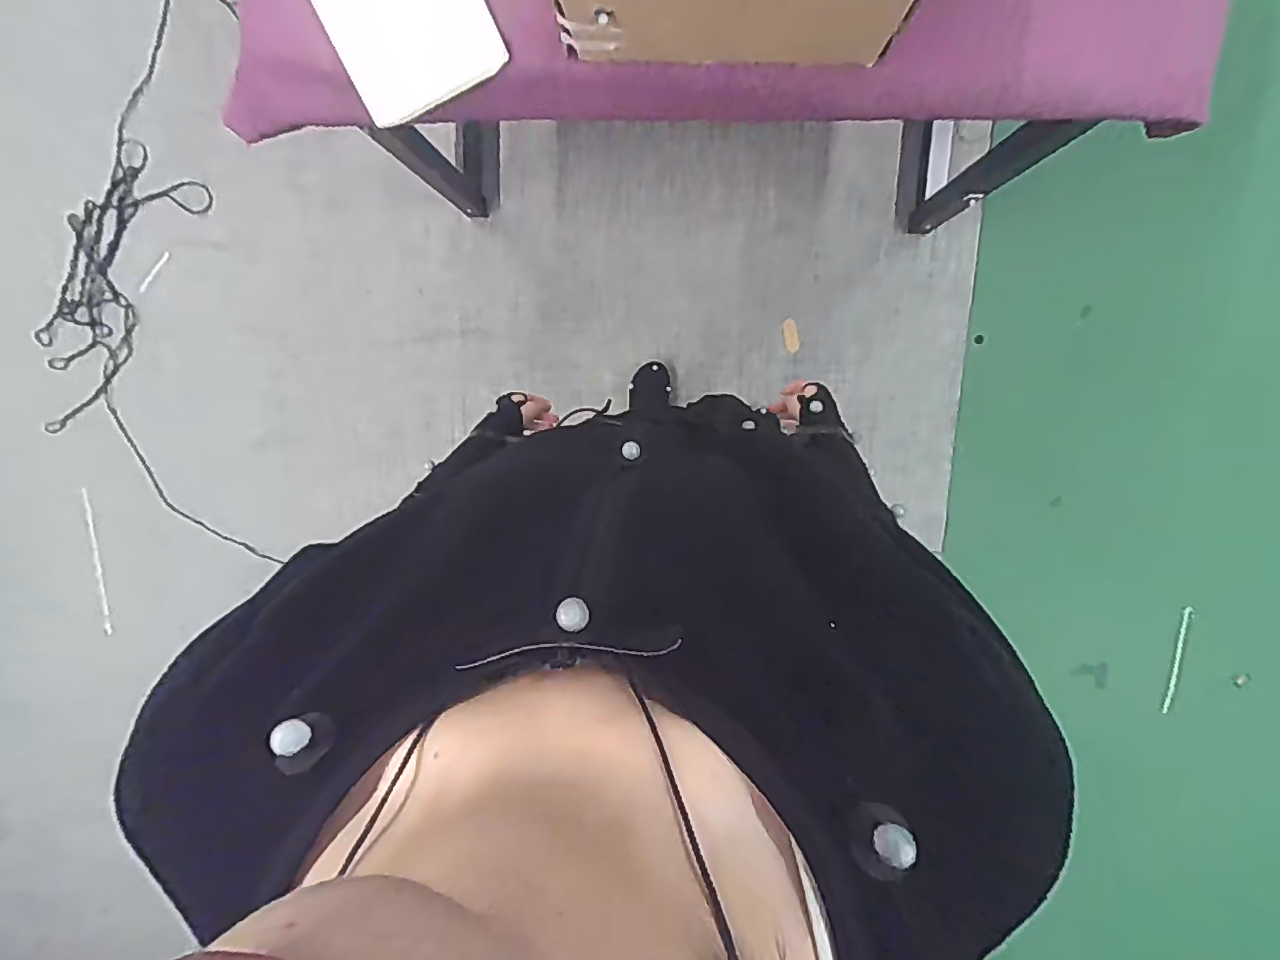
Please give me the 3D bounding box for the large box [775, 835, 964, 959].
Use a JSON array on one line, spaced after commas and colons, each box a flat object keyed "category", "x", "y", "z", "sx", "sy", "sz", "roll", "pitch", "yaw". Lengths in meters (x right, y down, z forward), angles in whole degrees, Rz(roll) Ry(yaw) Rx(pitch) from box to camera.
[{"category": "large box", "x": 0.628, "y": 1.269, "z": 1.506, "sx": 0.408, "sy": 0.320, "sz": 0.320, "roll": -12, "pitch": 99, "yaw": 4}]
